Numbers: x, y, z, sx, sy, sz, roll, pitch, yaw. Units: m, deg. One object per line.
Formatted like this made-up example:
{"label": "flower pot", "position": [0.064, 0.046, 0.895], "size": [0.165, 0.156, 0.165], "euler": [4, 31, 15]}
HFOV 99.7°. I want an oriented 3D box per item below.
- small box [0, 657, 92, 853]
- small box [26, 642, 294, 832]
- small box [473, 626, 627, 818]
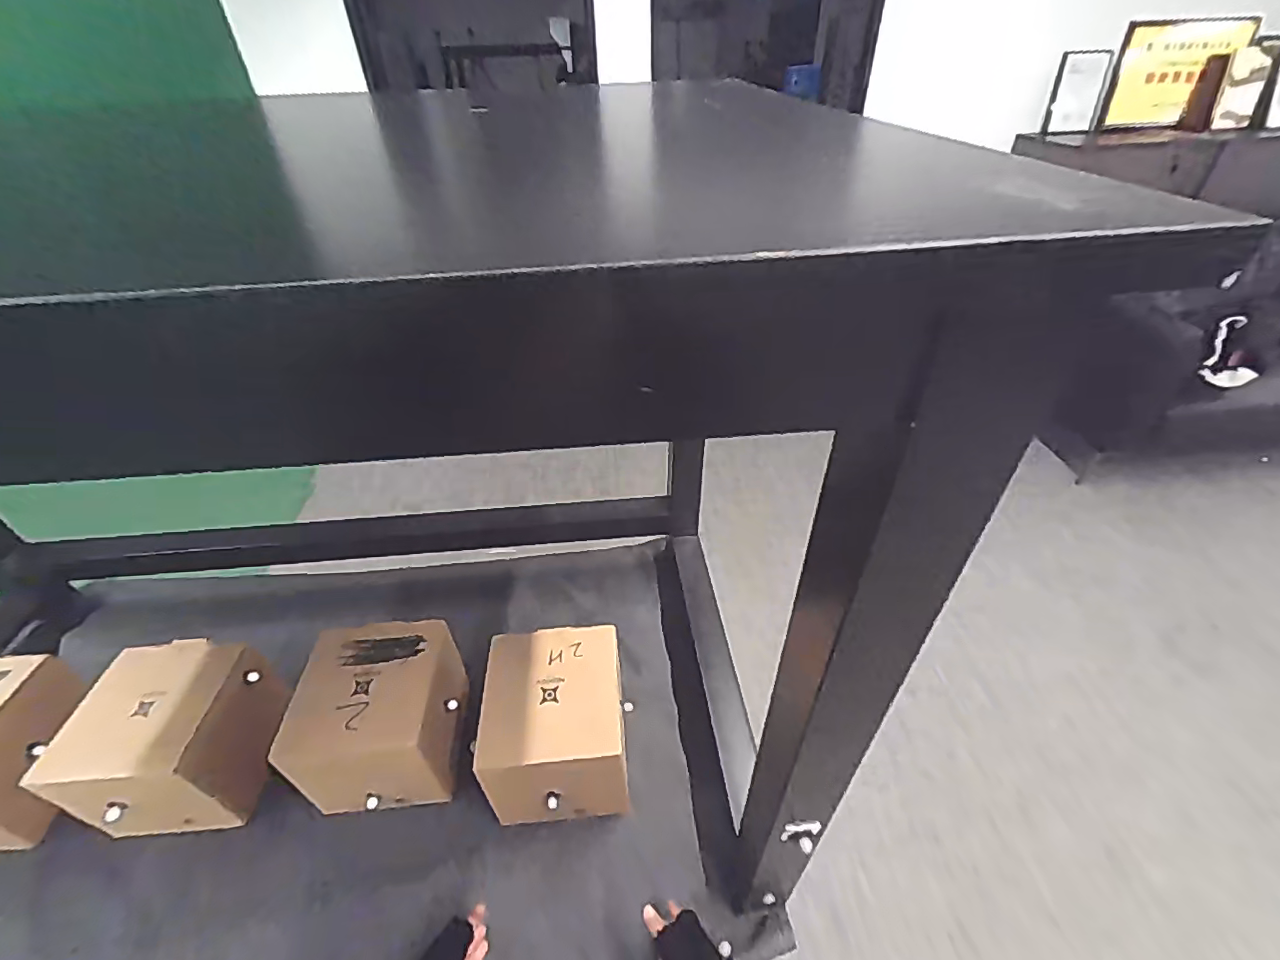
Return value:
{"label": "small box", "position": [-0.849, 0.354, 0.696], "size": [0.168, 0.176, 0.179], "euler": [-3, 40, -2]}
{"label": "small box", "position": [-0.597, 0.339, 0.710], "size": [0.168, 0.176, 0.179], "euler": [-3, 39, -3]}
{"label": "small box", "position": [-0.107, 0.321, 0.712], "size": [0.168, 0.176, 0.179], "euler": [-4, 39, -3]}
